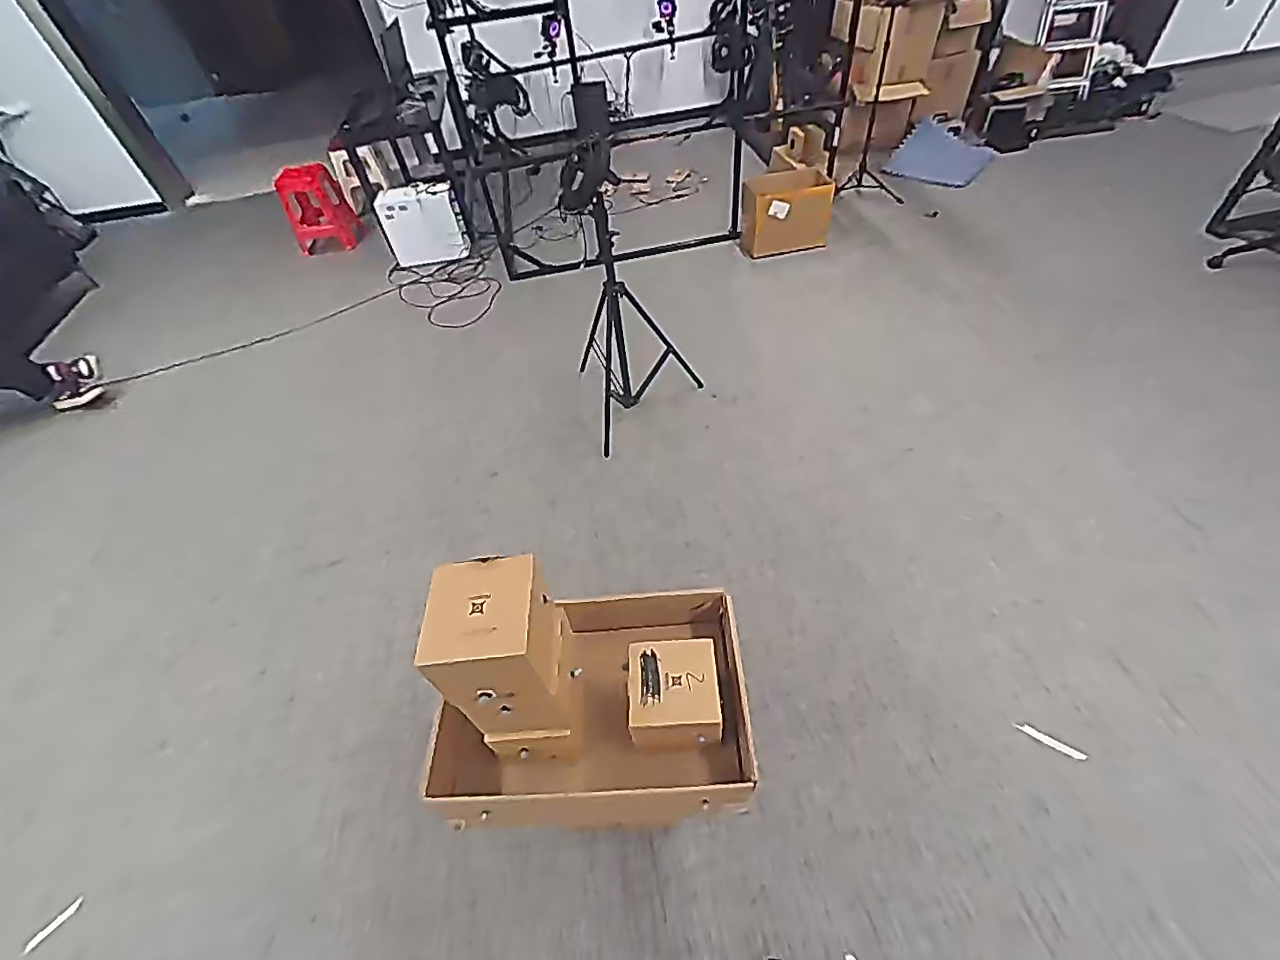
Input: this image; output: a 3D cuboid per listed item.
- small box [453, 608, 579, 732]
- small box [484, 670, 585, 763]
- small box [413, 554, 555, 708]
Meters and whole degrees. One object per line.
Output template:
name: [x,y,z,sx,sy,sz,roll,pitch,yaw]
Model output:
small box: [-0.217,0.353,0.995,0.179,0.176,0.168,-4,48,2]
small box: [-0.206,0.469,1.112,0.168,0.176,0.179,-5,47,1]
small box: [-0.236,0.245,0.874,0.168,0.176,0.179,-6,47,2]
